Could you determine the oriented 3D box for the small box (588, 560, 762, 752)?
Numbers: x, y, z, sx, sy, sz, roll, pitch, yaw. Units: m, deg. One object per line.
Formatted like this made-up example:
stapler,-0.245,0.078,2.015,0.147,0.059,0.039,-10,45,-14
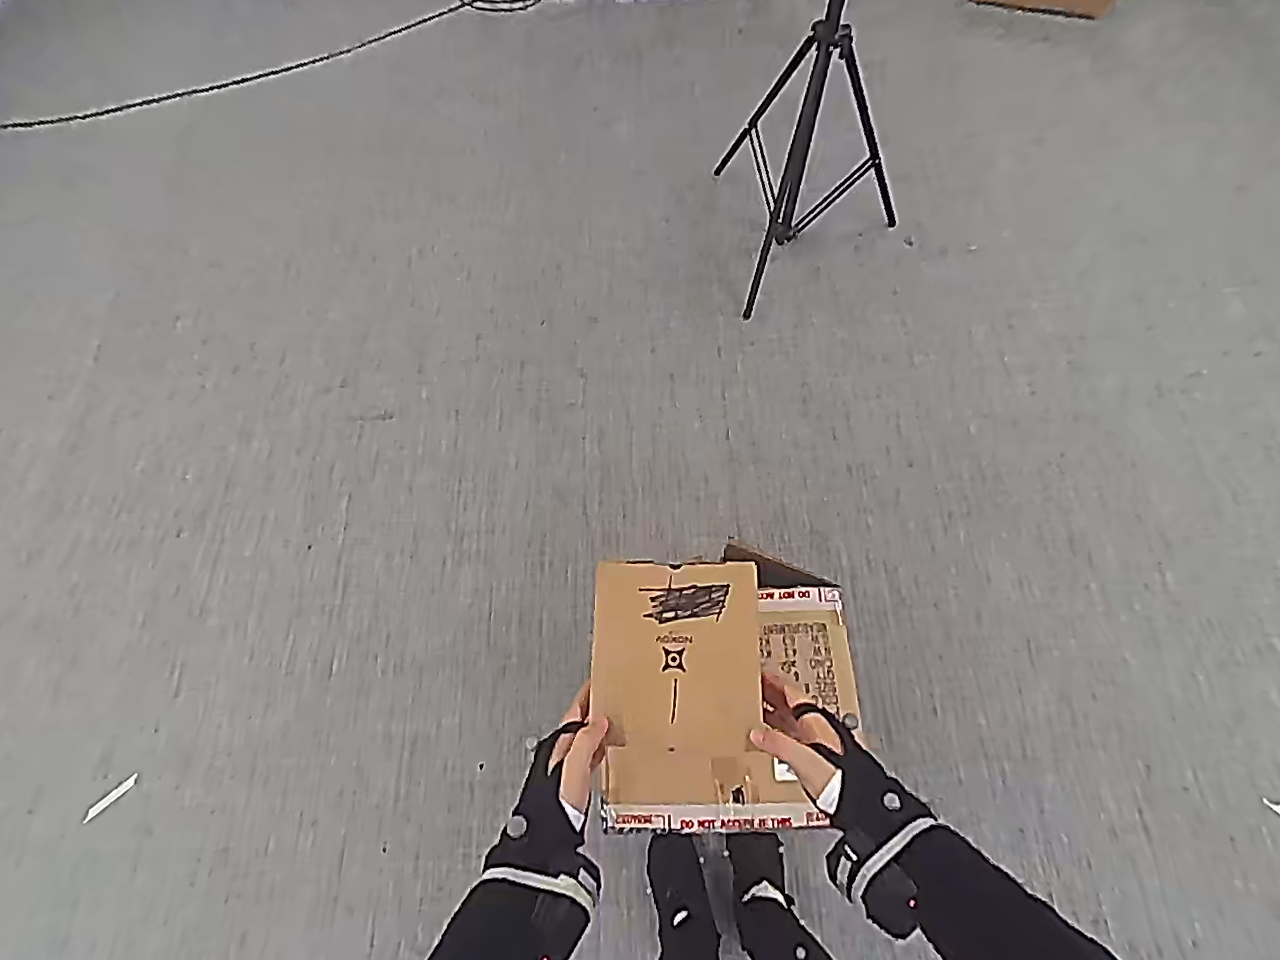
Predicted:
small box,0.040,0.193,0.603,0.168,0.176,0.179,0,72,5
